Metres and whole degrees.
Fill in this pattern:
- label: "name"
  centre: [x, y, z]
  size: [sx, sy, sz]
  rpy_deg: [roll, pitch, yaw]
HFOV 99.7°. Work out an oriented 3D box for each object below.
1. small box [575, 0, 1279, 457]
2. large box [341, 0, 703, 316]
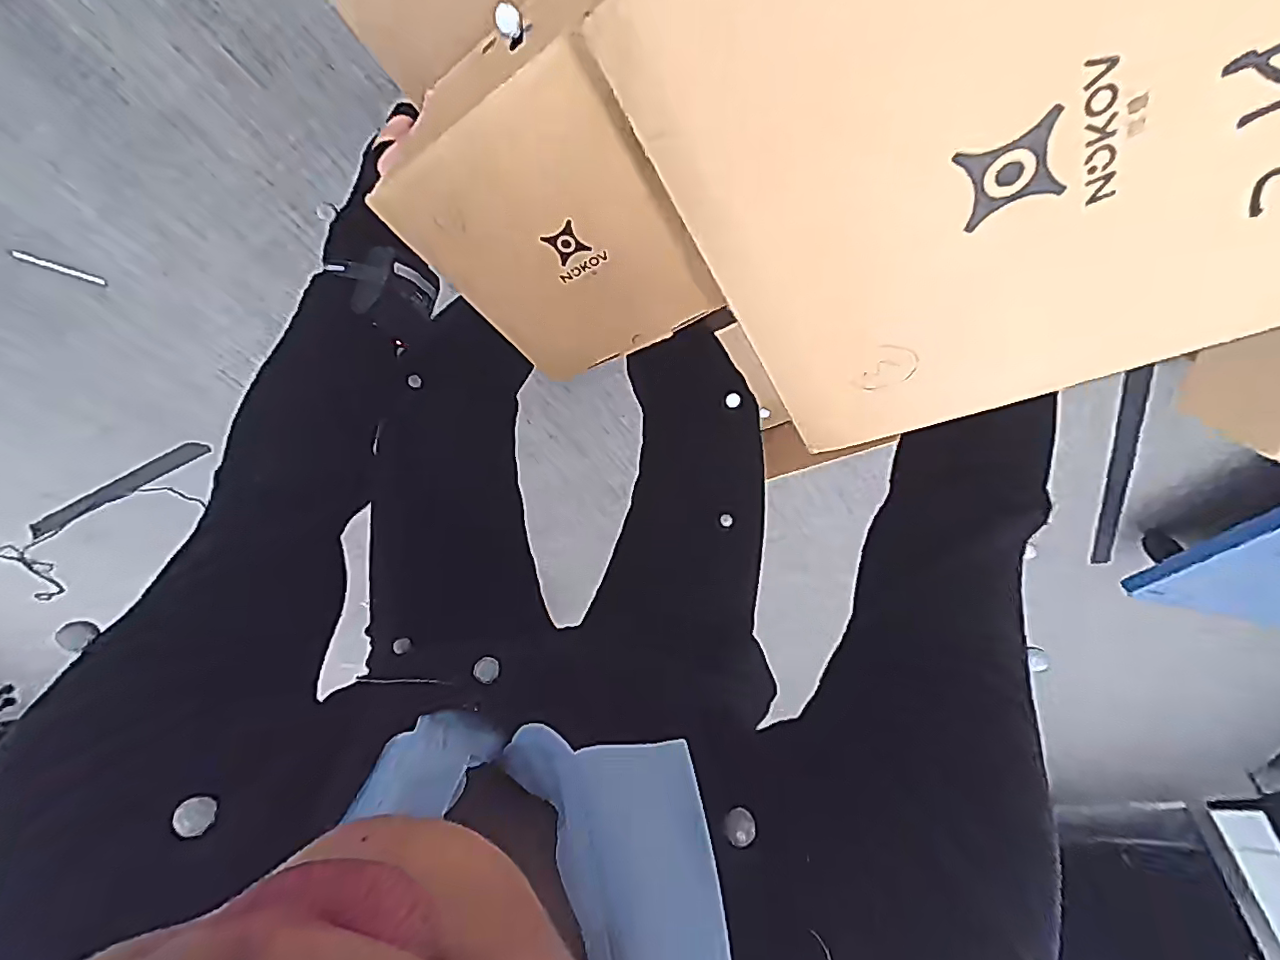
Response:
- label: "small box"
  centre: [0.107, -0.139, 0.174]
  size: [0.179, 0.176, 0.168]
  rpy_deg: [-17, 136, 27]
- label: "large box"
  centre: [0.044, -0.429, 0.474]
  size: [0.408, 0.320, 0.320]
  rpy_deg: [-18, 135, 28]
